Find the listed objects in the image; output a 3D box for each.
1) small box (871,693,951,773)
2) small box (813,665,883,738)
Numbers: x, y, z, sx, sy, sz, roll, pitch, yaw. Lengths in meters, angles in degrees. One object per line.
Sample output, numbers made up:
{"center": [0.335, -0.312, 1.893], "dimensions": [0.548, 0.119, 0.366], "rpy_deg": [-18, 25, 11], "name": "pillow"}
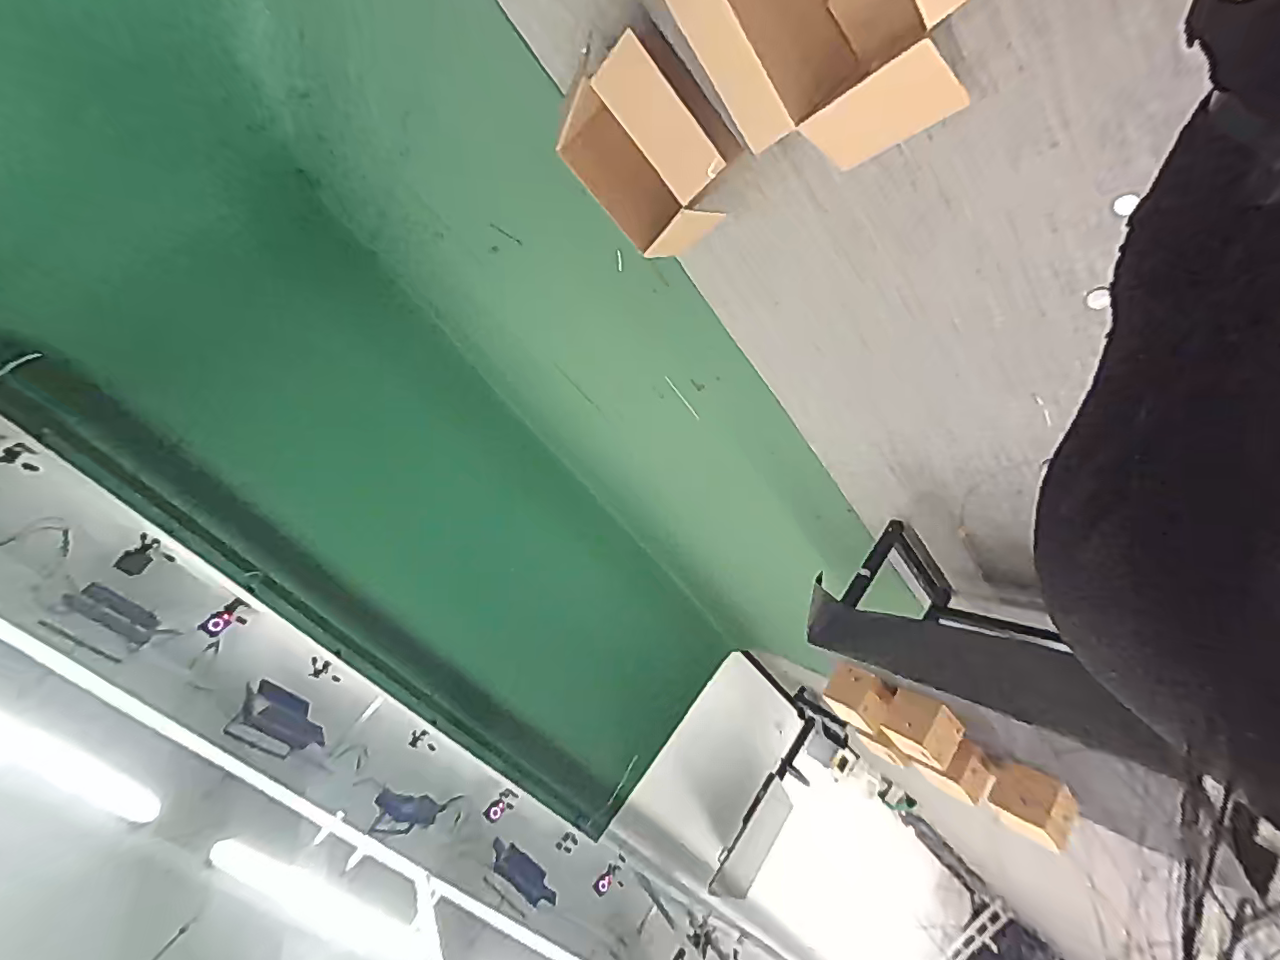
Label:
{"center": [0.965, 0.885, 1.912], "dimensions": [0.168, 0.176, 0.179], "rpy_deg": [48, 159, -18], "name": "small box"}
{"center": [0.825, 0.869, 2.133], "dimensions": [0.179, 0.176, 0.168], "rpy_deg": [50, 158, -23], "name": "small box"}
